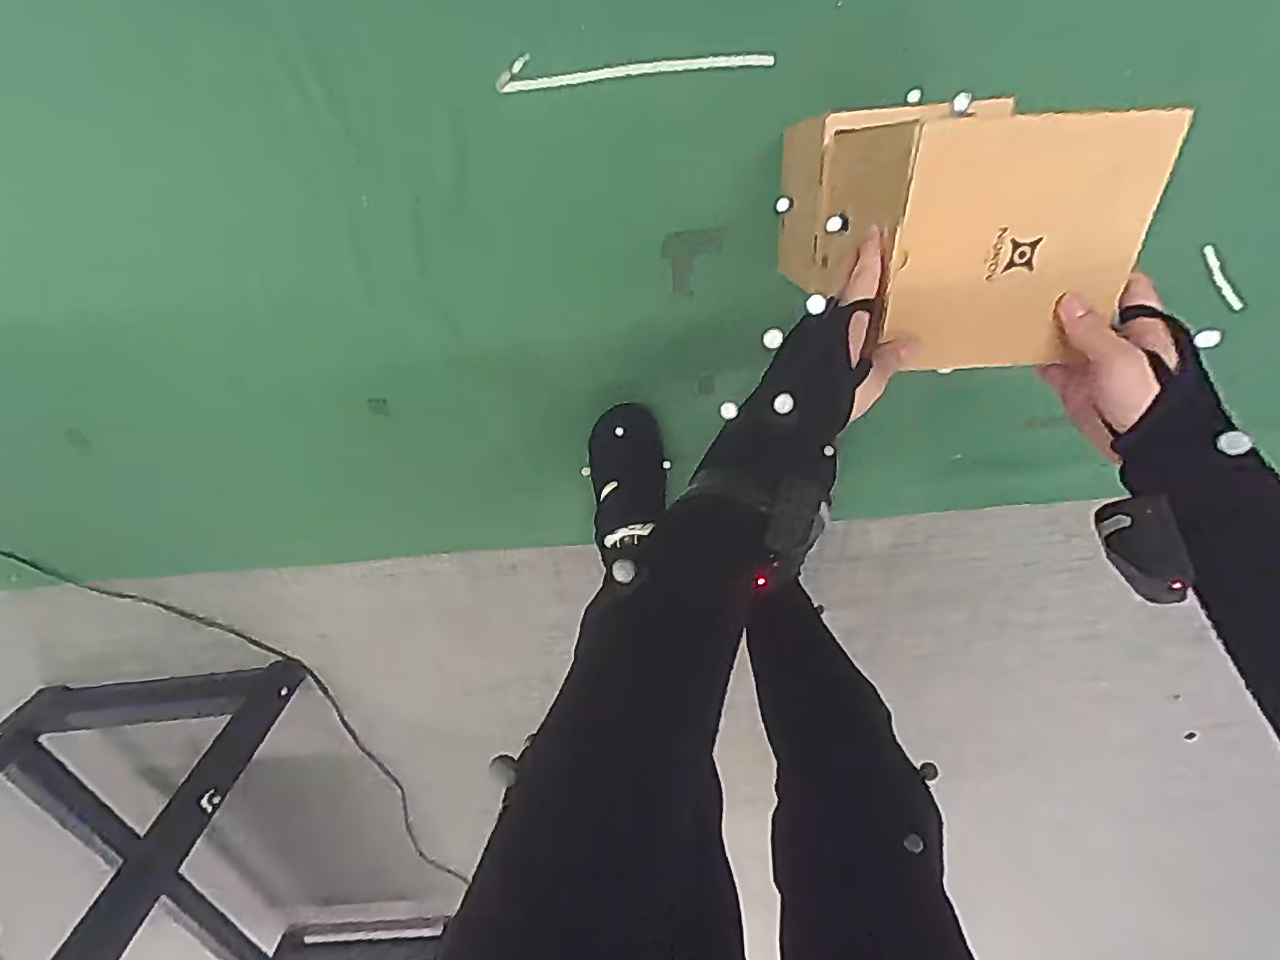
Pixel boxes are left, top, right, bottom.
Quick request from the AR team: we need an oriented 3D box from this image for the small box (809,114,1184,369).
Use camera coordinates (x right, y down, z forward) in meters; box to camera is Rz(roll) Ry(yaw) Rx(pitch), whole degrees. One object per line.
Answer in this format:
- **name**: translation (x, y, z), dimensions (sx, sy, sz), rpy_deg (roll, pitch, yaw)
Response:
- **small box**: translation (0.260, -0.201, 0.450), dimensions (0.179, 0.176, 0.168), rpy_deg (-2, 120, 0)

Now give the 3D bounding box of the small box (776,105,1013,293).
- **small box**: translation (0.264, -0.314, 0.611), dimensions (0.179, 0.176, 0.168), rpy_deg (-3, 119, 2)
